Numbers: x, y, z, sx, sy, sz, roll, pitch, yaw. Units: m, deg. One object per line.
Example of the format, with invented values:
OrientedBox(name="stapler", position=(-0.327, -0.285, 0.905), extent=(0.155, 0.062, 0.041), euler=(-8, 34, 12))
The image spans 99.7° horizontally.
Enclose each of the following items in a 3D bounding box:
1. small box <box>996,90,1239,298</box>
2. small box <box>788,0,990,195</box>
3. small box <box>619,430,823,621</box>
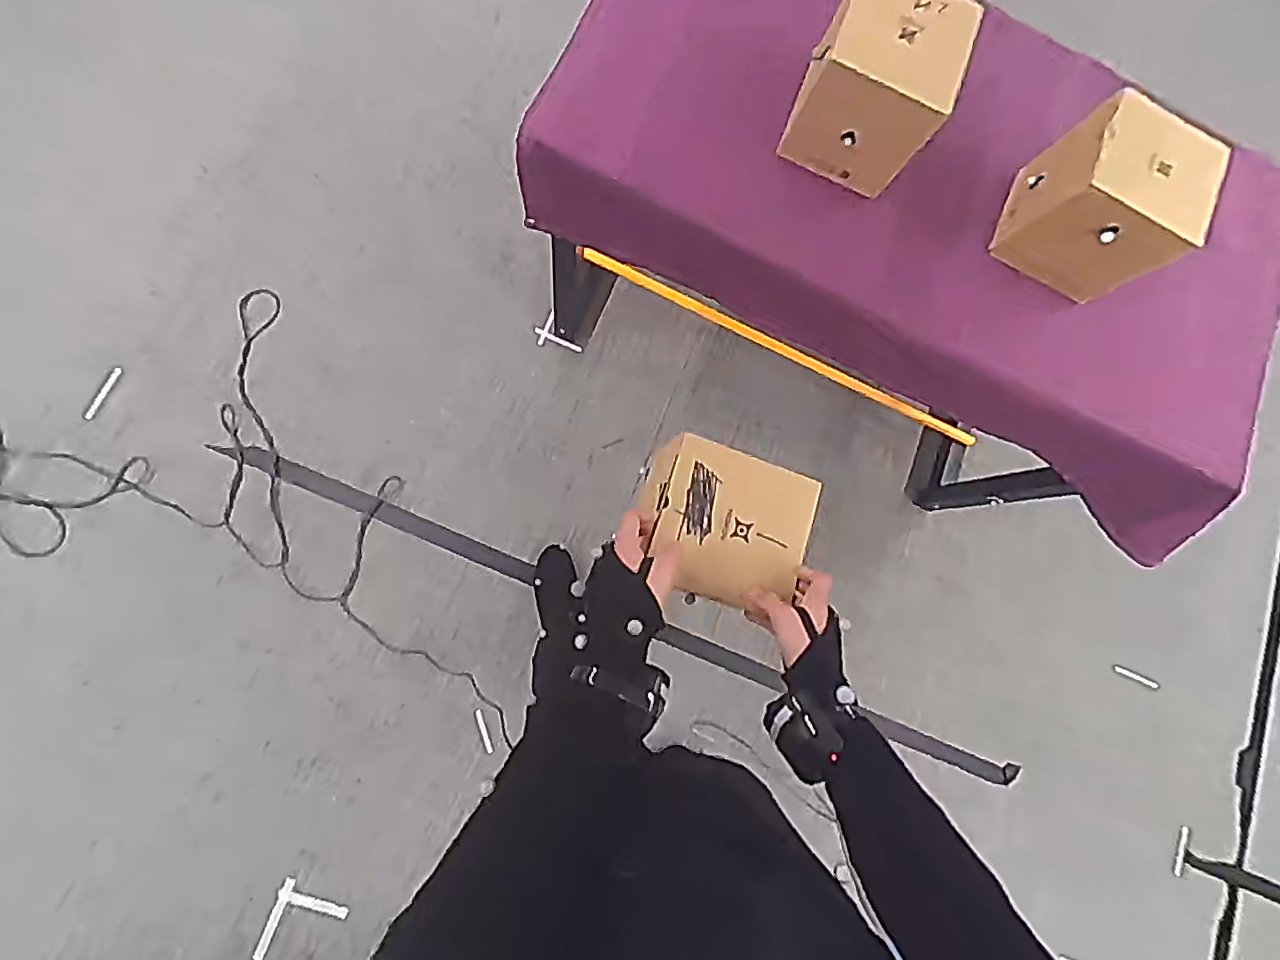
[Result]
OrientedBox(name="small box", position=(0.666, -0.387, 0.771), extent=(0.179, 0.176, 0.168), euler=(27, 80, -4))
OrientedBox(name="small box", position=(0.323, -0.535, 0.736), extent=(0.168, 0.176, 0.179), euler=(23, 80, -6))
OrientedBox(name="small box", position=(0.086, 0.059, 0.661), extent=(0.179, 0.176, 0.168), euler=(20, 80, -10))
